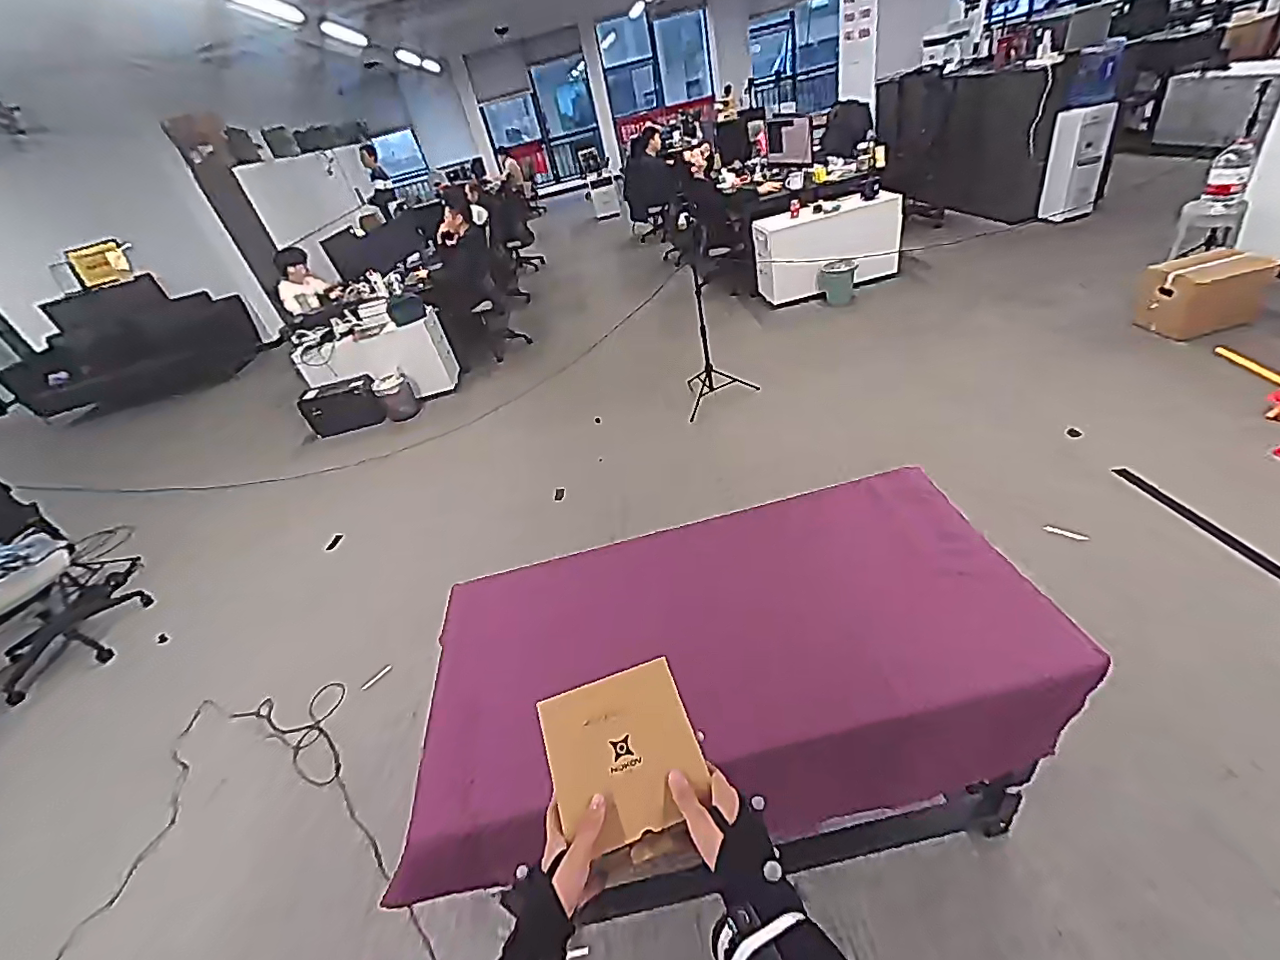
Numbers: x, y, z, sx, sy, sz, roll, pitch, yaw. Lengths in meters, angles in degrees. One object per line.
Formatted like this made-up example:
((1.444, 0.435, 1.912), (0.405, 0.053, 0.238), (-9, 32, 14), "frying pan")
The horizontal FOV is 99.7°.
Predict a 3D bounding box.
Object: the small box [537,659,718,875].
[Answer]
((-0.013, 0.354, 0.659), (0.168, 0.176, 0.179), (-17, 49, -9), "small box")
